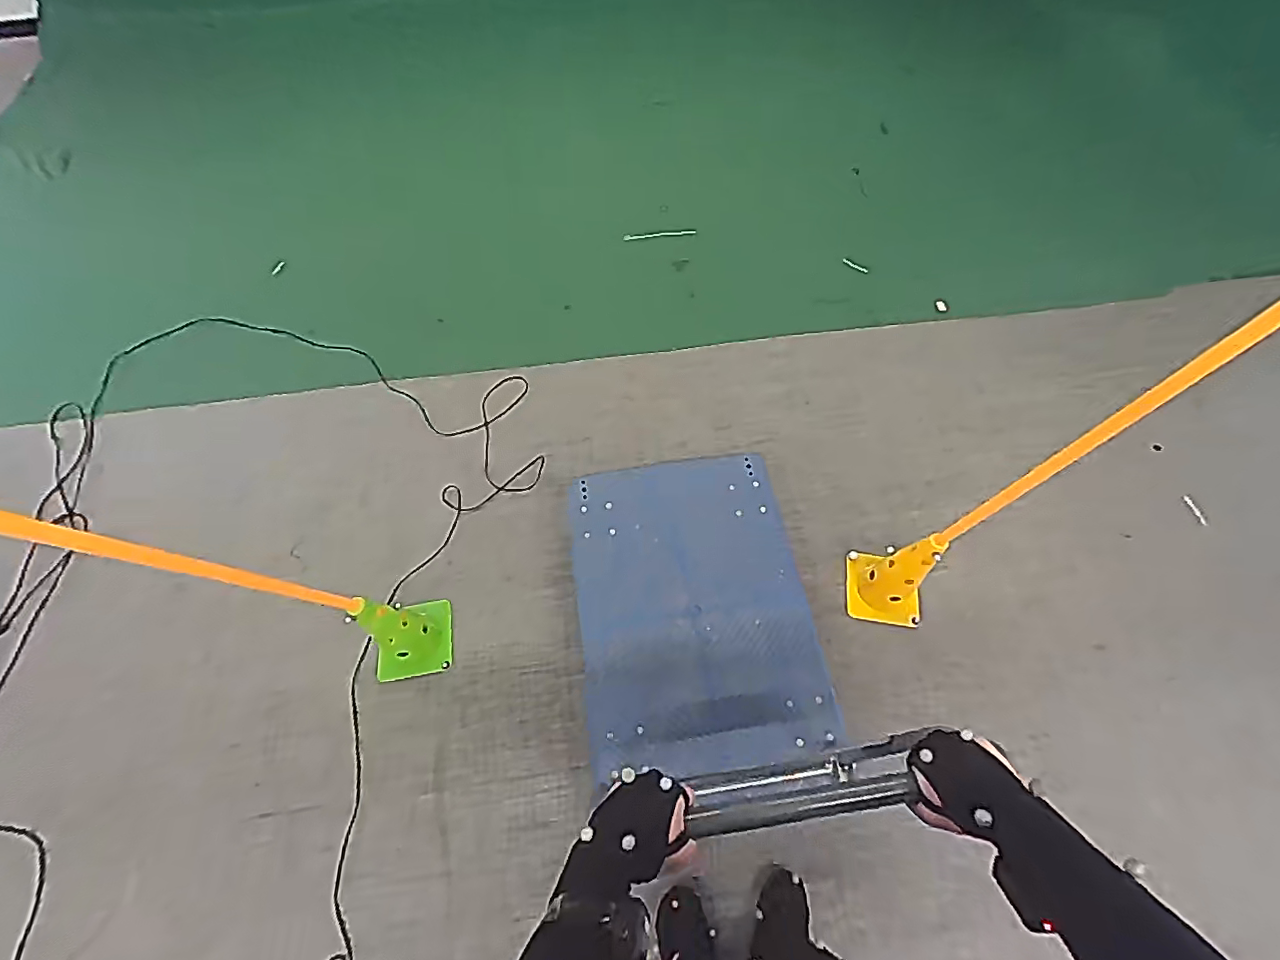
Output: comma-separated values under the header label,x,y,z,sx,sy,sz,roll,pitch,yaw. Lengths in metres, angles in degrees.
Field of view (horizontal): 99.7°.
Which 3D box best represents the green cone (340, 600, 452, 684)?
label,x,y,z,sx,sy,sz,roll,pitch,yaw
green cone,-0.630,0.366,1.349,0.202,0.368,0.200,-11,61,-3
